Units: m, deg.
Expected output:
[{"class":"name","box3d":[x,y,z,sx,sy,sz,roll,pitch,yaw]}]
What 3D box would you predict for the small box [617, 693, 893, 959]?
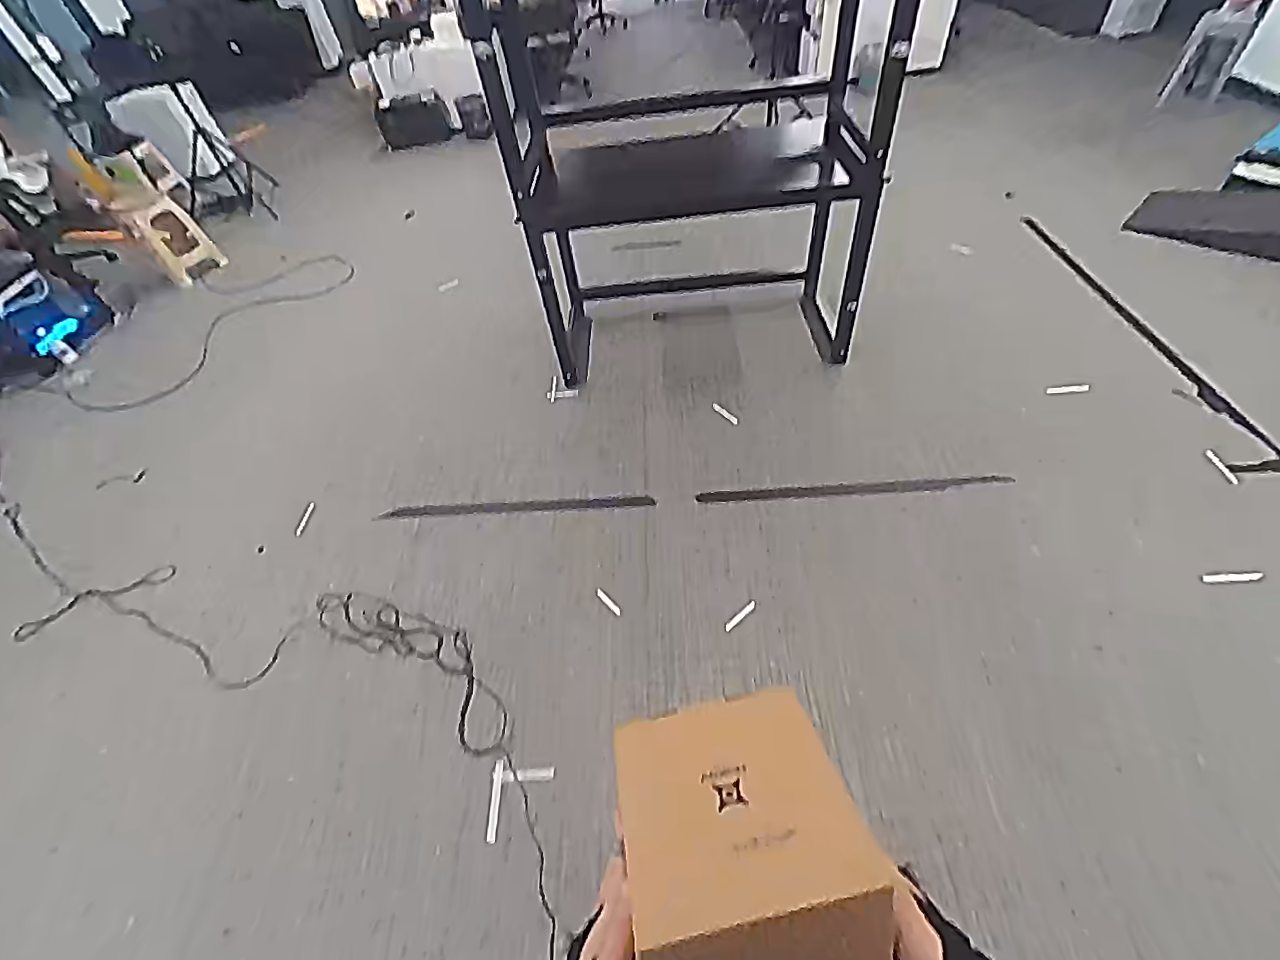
[{"class":"small box","box3d":[0.080,0.313,0.439,0.168,0.176,0.179,-12,22,-4]}]
